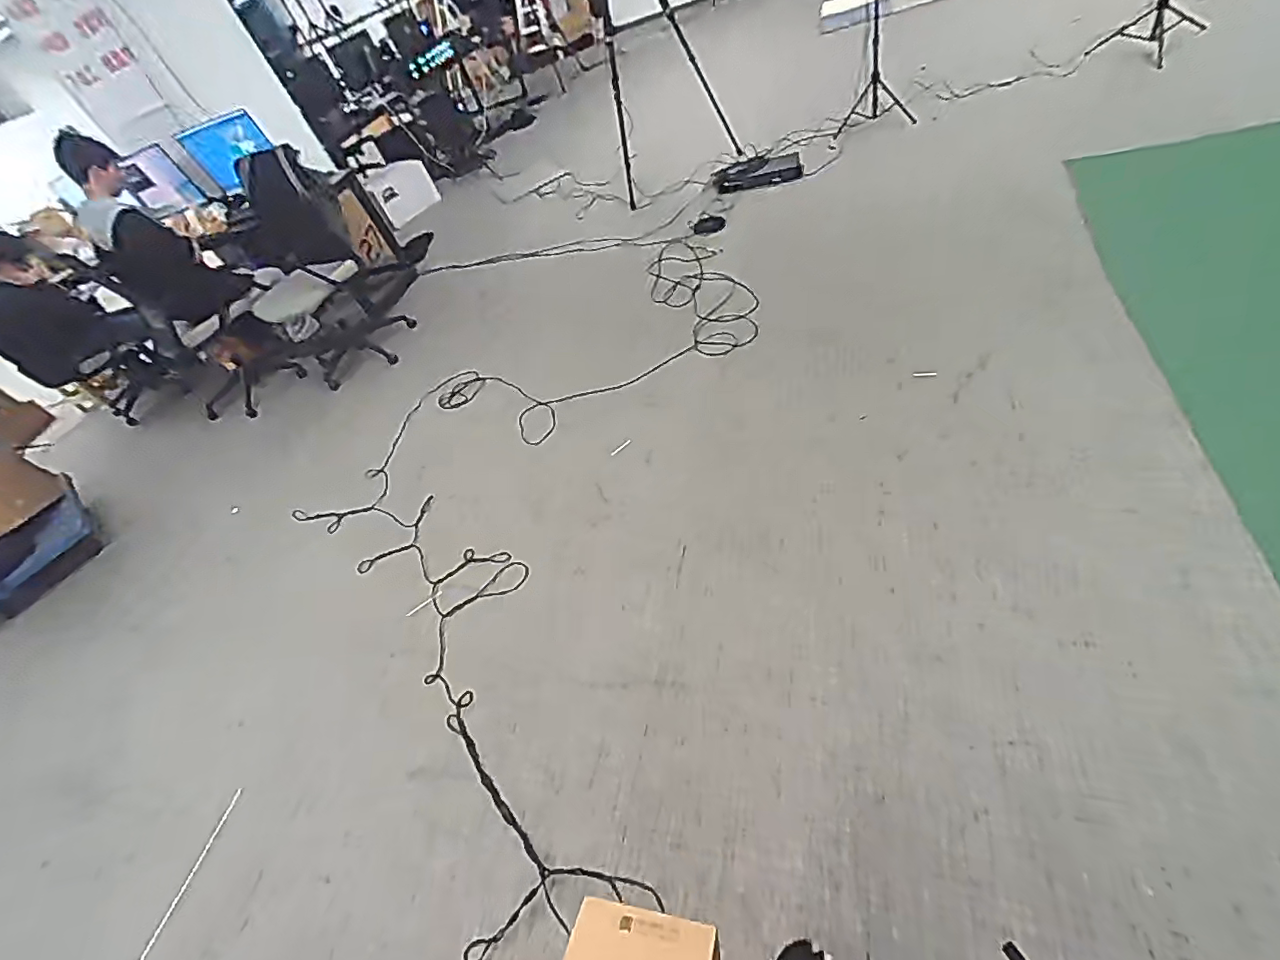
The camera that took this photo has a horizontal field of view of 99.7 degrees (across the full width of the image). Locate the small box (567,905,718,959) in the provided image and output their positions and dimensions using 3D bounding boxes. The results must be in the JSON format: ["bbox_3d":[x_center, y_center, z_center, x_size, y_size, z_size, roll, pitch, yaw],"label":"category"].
[{"bbox_3d":[-0.003,0.620,0.597,0.168,0.179,0.176,-1,21,16],"label":"small box"}]
